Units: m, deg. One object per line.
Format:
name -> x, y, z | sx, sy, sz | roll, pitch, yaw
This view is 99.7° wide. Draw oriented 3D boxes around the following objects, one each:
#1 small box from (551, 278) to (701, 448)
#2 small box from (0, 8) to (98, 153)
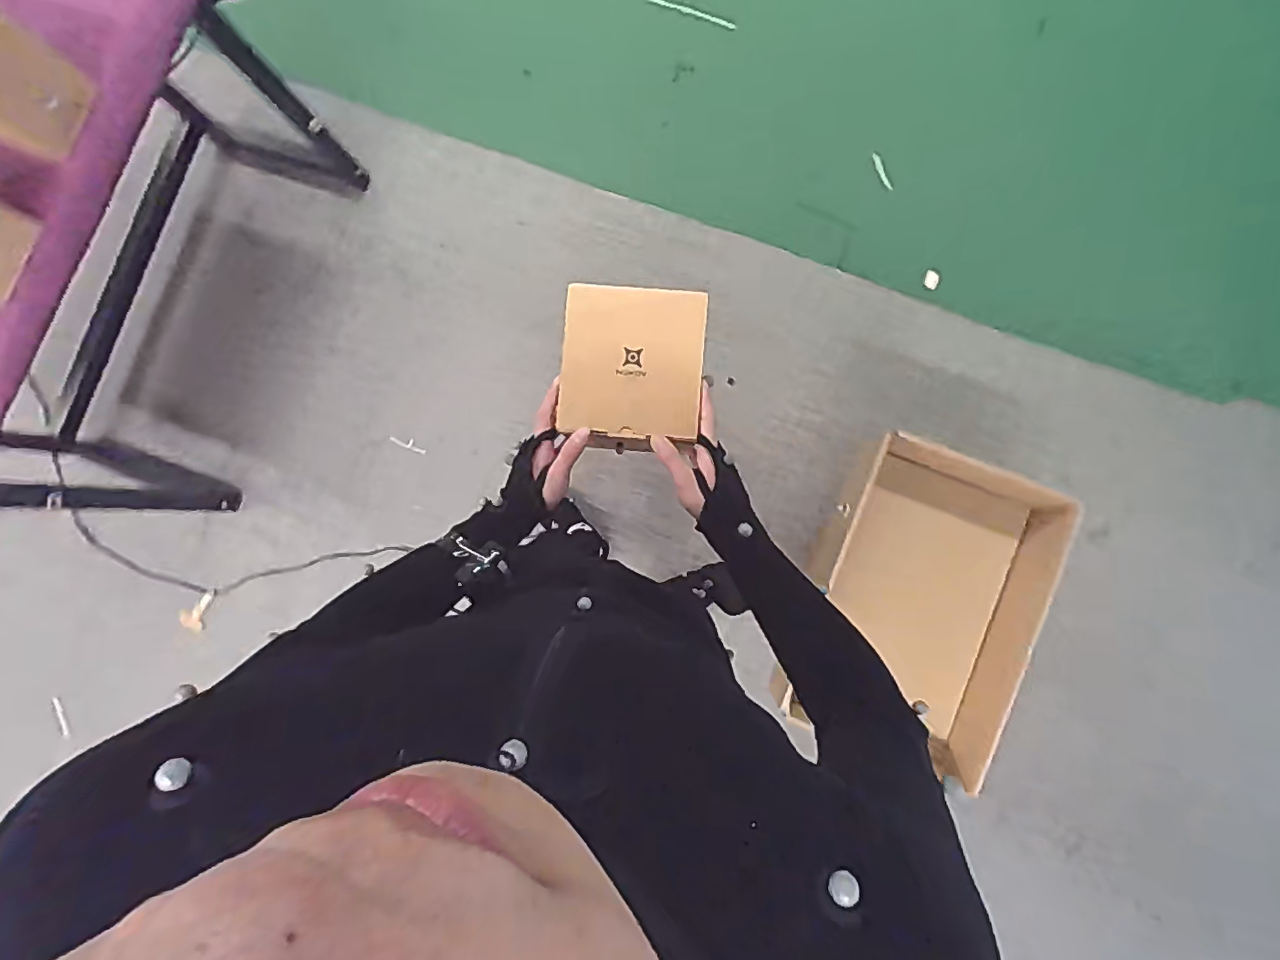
small box -> -0.016, -0.140, 0.701 | 0.168, 0.176, 0.179 | 3, 89, 1
small box -> -1.153, -0.728, 0.965 | 0.179, 0.176, 0.168 | 22, 88, 6
